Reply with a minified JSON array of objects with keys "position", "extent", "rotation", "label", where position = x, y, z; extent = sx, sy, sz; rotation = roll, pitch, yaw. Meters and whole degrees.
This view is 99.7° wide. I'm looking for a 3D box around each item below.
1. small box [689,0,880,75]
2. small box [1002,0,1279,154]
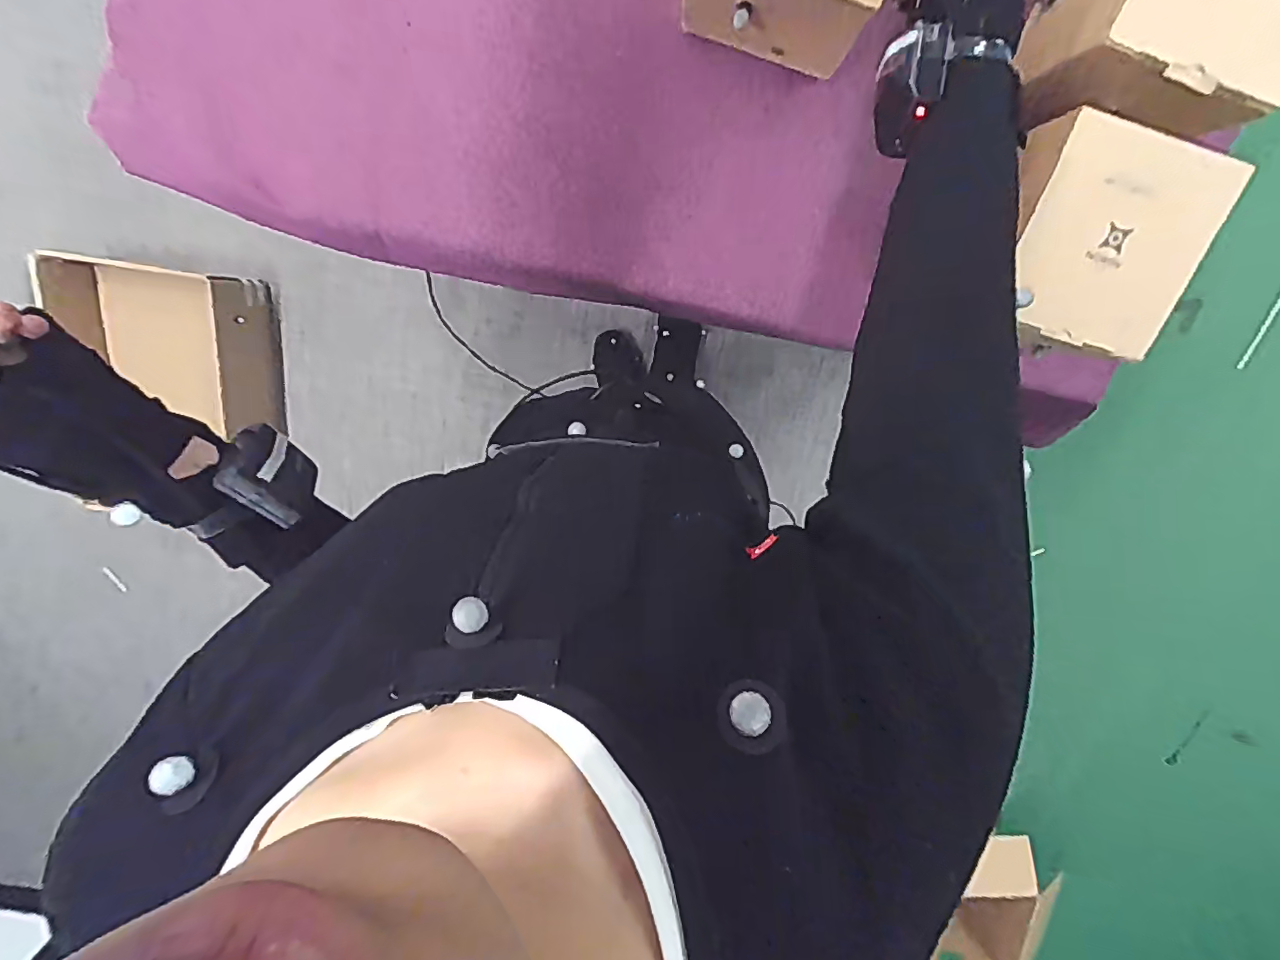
[{"position":[0.144,-0.498,0.469],"extent":[0.168,0.176,0.179],"rotation":[18,109,-2],"label":"small box"},{"position":[0.478,-0.428,0.491],"extent":[0.168,0.176,0.179],"rotation":[19,109,-5],"label":"small box"}]
